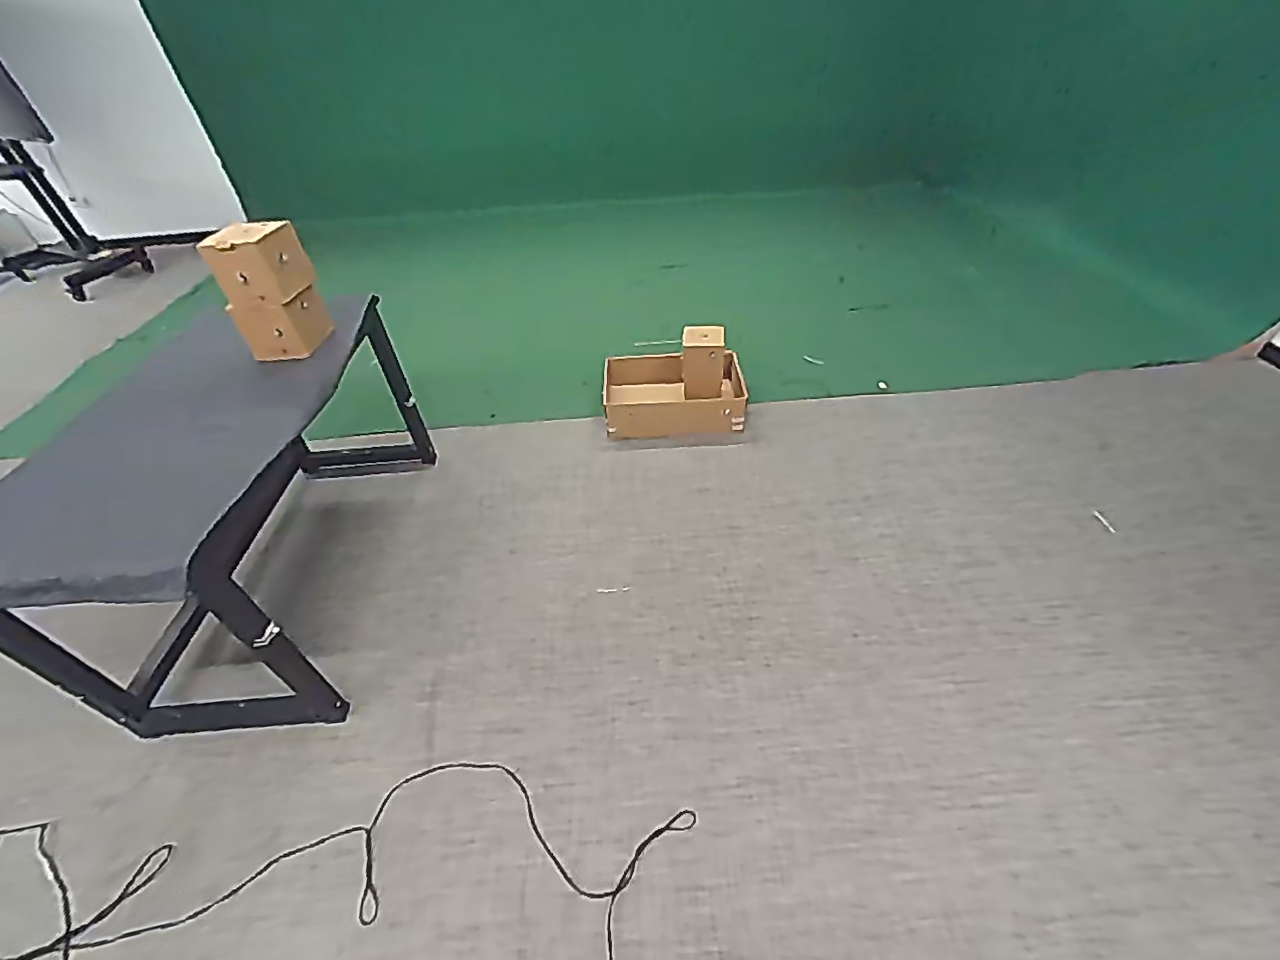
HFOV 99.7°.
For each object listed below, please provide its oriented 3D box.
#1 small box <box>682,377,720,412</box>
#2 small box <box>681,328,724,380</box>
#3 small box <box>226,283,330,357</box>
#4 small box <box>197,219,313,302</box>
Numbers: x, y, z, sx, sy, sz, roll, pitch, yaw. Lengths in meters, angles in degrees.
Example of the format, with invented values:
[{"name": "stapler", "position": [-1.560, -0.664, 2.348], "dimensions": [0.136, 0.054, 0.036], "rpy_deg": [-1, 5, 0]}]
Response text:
[{"name": "small box", "position": [0.279, -0.428, 2.464], "dimensions": [0.168, 0.176, 0.179], "rpy_deg": [1, 45, 6]}, {"name": "small box", "position": [0.271, -0.545, 2.348], "dimensions": [0.179, 0.176, 0.168], "rpy_deg": [2, 44, 7]}, {"name": "small box", "position": [-1.059, -0.476, 1.601], "dimensions": [0.168, 0.176, 0.179], "rpy_deg": [-2, 42, 2]}, {"name": "small box", "position": [-1.051, -0.605, 1.499], "dimensions": [0.168, 0.176, 0.179], "rpy_deg": [0, 43, 5]}]
